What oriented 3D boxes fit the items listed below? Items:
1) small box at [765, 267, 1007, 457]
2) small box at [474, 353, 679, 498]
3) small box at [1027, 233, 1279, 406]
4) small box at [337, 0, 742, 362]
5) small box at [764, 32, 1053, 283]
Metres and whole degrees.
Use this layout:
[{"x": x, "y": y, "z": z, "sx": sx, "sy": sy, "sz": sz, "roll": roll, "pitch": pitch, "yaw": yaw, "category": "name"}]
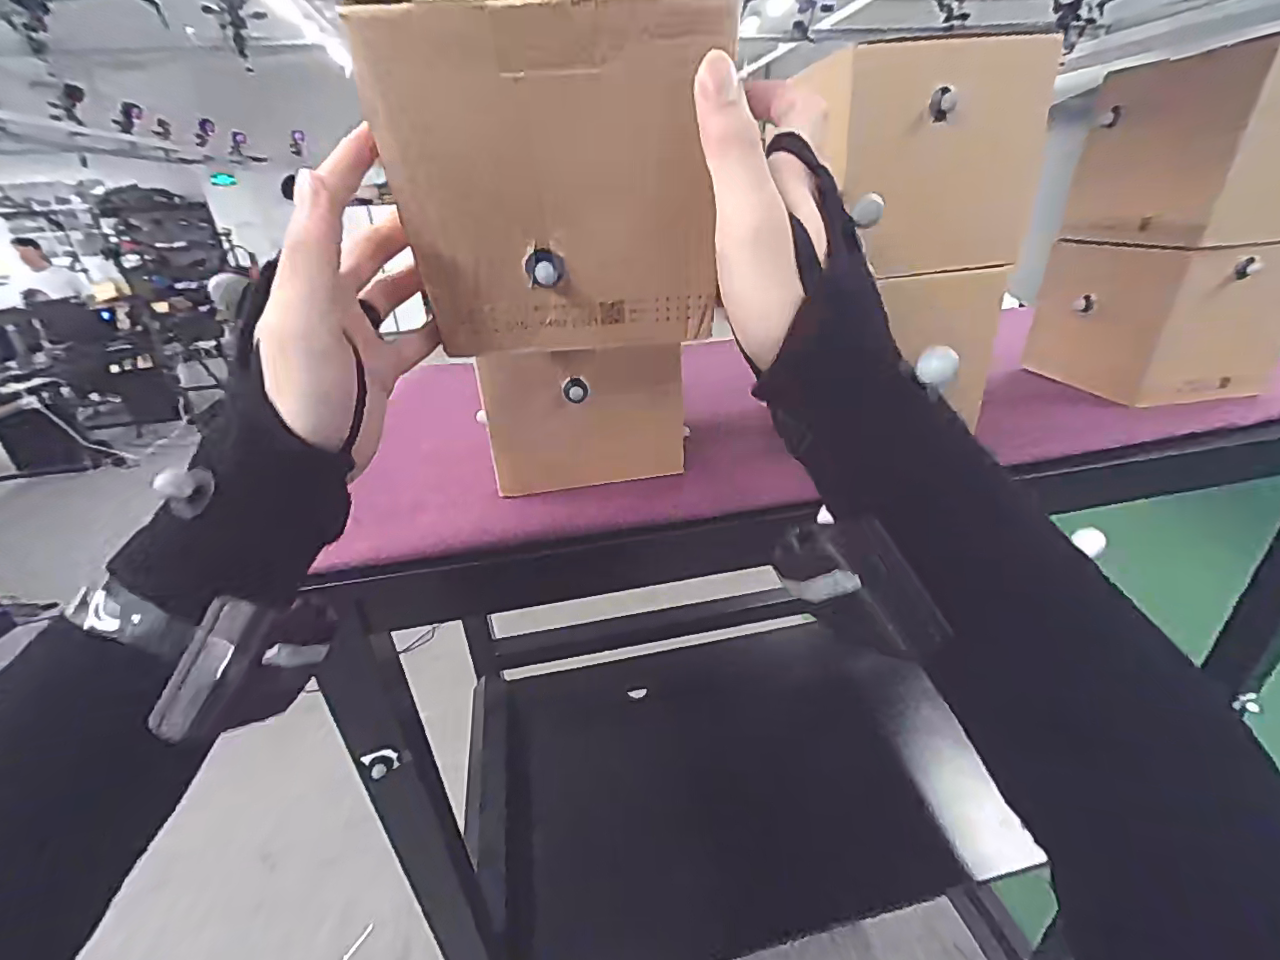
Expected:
[{"x": 0.241, "y": -0.138, "z": 0.582, "sx": 0.168, "sy": 0.176, "sz": 0.179, "roll": -8, "pitch": 27, "yaw": -6, "category": "small box"}, {"x": -0.061, "y": -0.098, "z": 0.539, "sx": 0.179, "sy": 0.176, "sz": 0.168, "roll": -9, "pitch": 26, "yaw": -8, "category": "small box"}, {"x": 0.611, "y": -0.196, "z": 0.646, "sx": 0.168, "sy": 0.176, "sz": 0.179, "roll": -8, "pitch": 27, "yaw": -5, "category": "small box"}, {"x": -0.045, "y": -0.192, "z": 0.330, "sx": 0.168, "sy": 0.176, "sz": 0.179, "roll": -5, "pitch": 48, "yaw": -3, "category": "small box"}, {"x": 0.228, "y": -0.282, "z": 0.506, "sx": 0.179, "sy": 0.176, "sz": 0.168, "roll": -9, "pitch": 26, "yaw": -7, "category": "small box"}]
